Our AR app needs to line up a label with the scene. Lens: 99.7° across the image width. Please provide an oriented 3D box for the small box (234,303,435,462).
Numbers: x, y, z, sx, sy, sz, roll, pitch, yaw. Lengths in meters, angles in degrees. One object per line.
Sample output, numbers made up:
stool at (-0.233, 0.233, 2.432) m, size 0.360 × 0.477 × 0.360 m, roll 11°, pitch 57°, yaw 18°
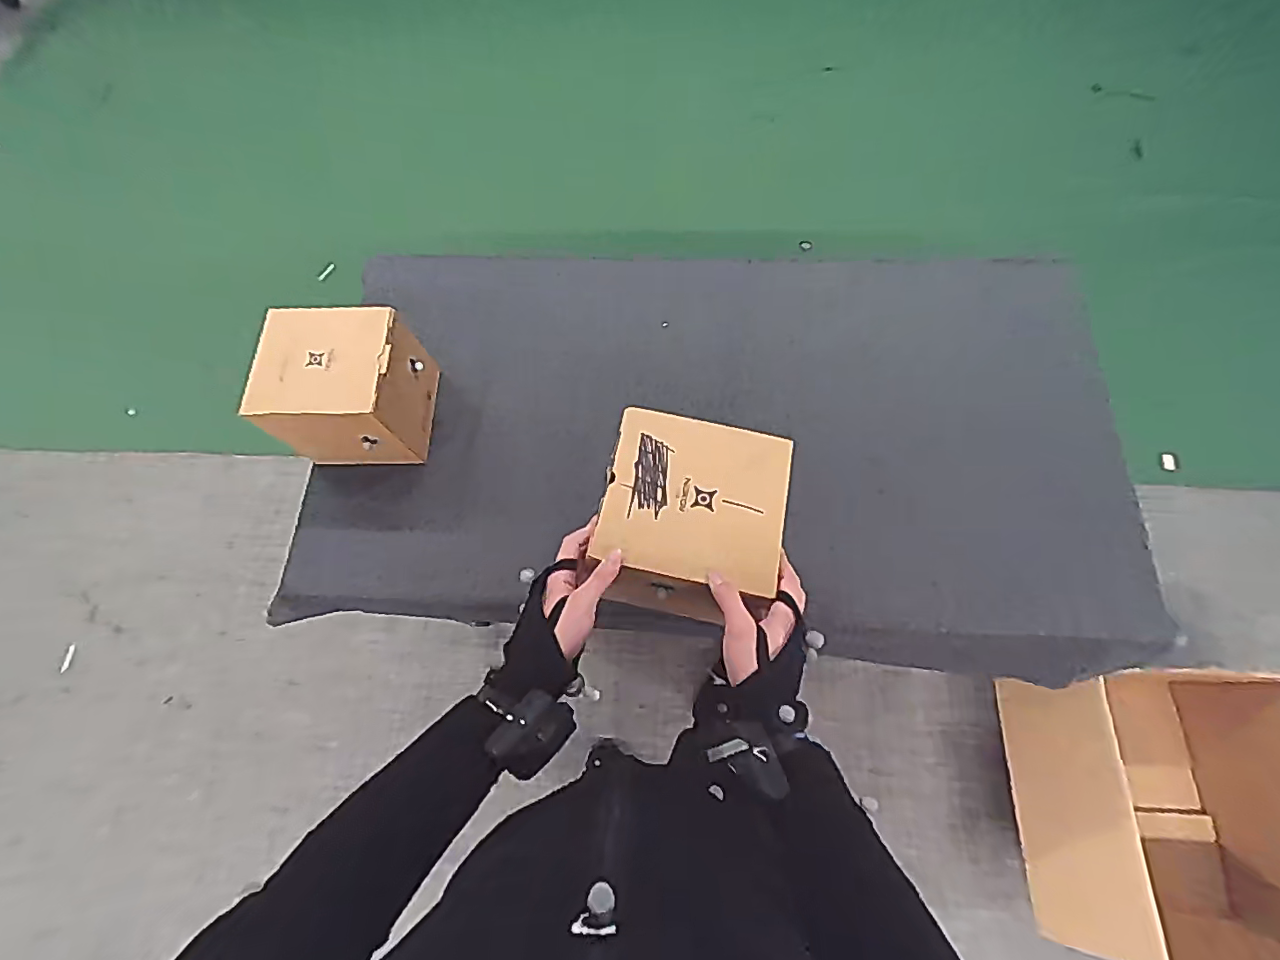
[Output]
small box at (-0.415, -0.131, 0.770) m, size 0.179 × 0.176 × 0.168 m, roll -1°, pitch 68°, yaw 3°

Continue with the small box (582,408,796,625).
small box at (0.049, 0.050, 0.591) m, size 0.179 × 0.176 × 0.168 m, roll 16°, pitch 68°, yaw 4°
